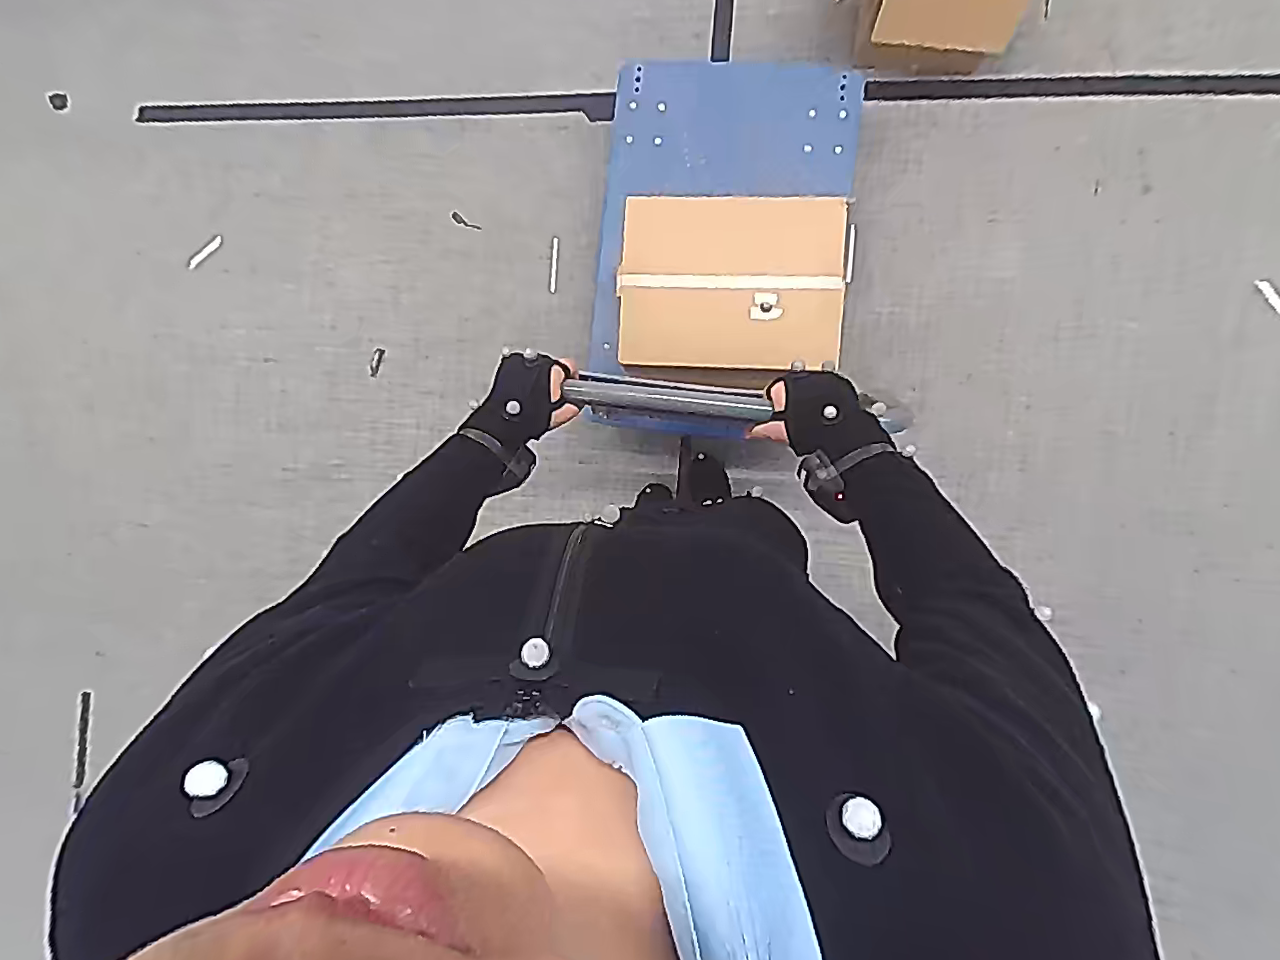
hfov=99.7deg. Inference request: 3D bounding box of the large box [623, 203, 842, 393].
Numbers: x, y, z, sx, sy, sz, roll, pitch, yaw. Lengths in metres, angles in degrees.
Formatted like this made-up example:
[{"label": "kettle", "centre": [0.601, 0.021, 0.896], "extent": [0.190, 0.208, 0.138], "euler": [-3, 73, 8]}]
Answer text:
[{"label": "large box", "centre": [0.179, -0.363, 1.156], "extent": [0.408, 0.320, 0.320], "euler": [3, 92, 5]}]
